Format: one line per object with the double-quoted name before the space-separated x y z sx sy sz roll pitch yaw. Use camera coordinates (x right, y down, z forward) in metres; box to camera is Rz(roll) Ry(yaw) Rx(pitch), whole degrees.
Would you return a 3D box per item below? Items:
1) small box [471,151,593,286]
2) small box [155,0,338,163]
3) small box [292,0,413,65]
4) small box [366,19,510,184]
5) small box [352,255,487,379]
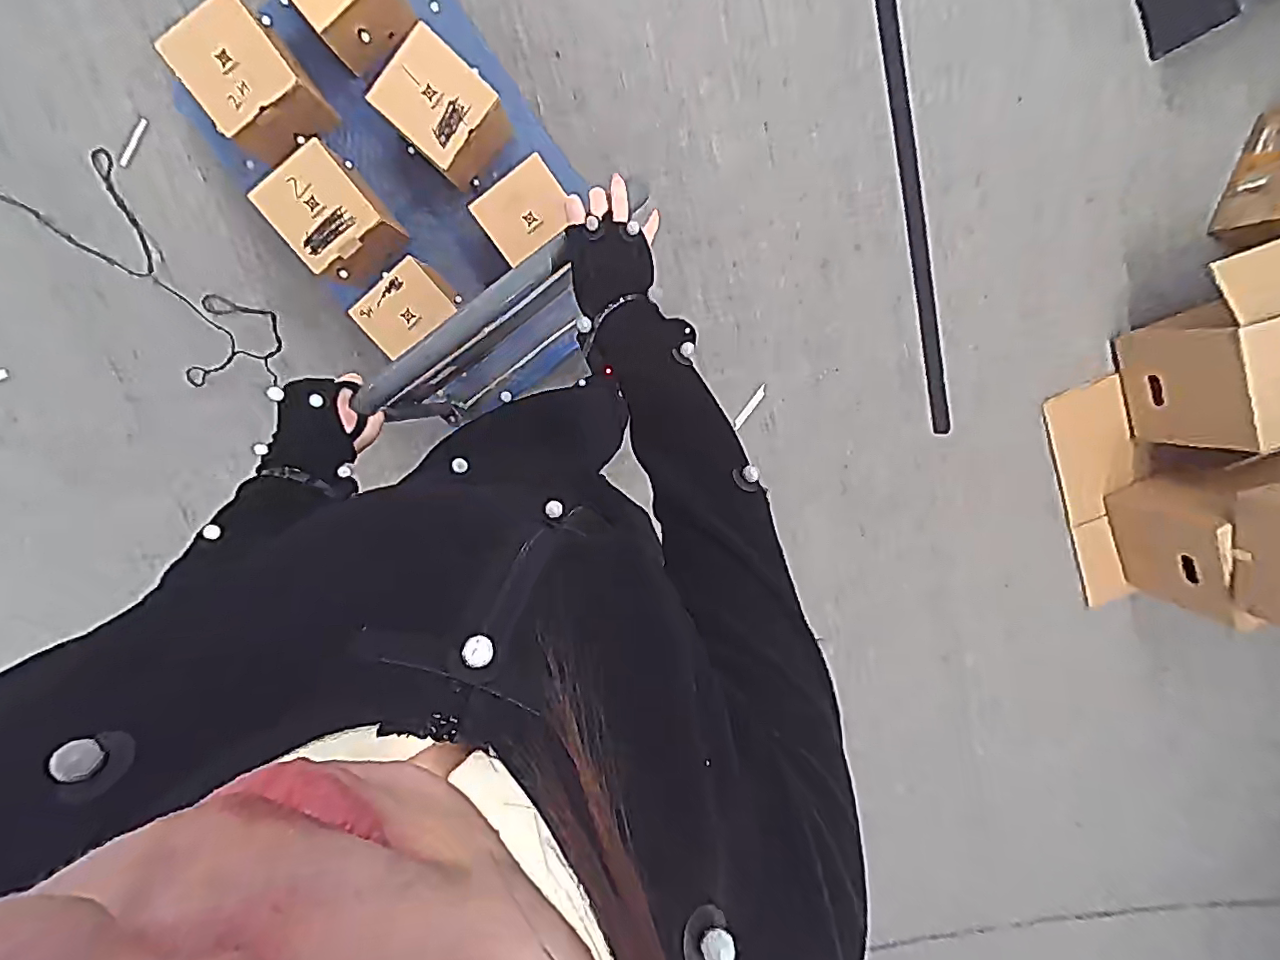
"small box" -0.207 -0.514 1.097 0.168 0.176 0.179 -36 103 4
"small box" -0.712 -0.736 1.002 0.168 0.176 0.179 -35 104 4
"small box" -0.549 -0.903 0.977 0.168 0.176 0.179 -40 103 5
"small box" -0.372 -0.704 1.038 0.179 0.176 0.168 40 97 -11
"small box" -0.442 -0.332 1.120 0.168 0.176 0.179 -41 103 4
